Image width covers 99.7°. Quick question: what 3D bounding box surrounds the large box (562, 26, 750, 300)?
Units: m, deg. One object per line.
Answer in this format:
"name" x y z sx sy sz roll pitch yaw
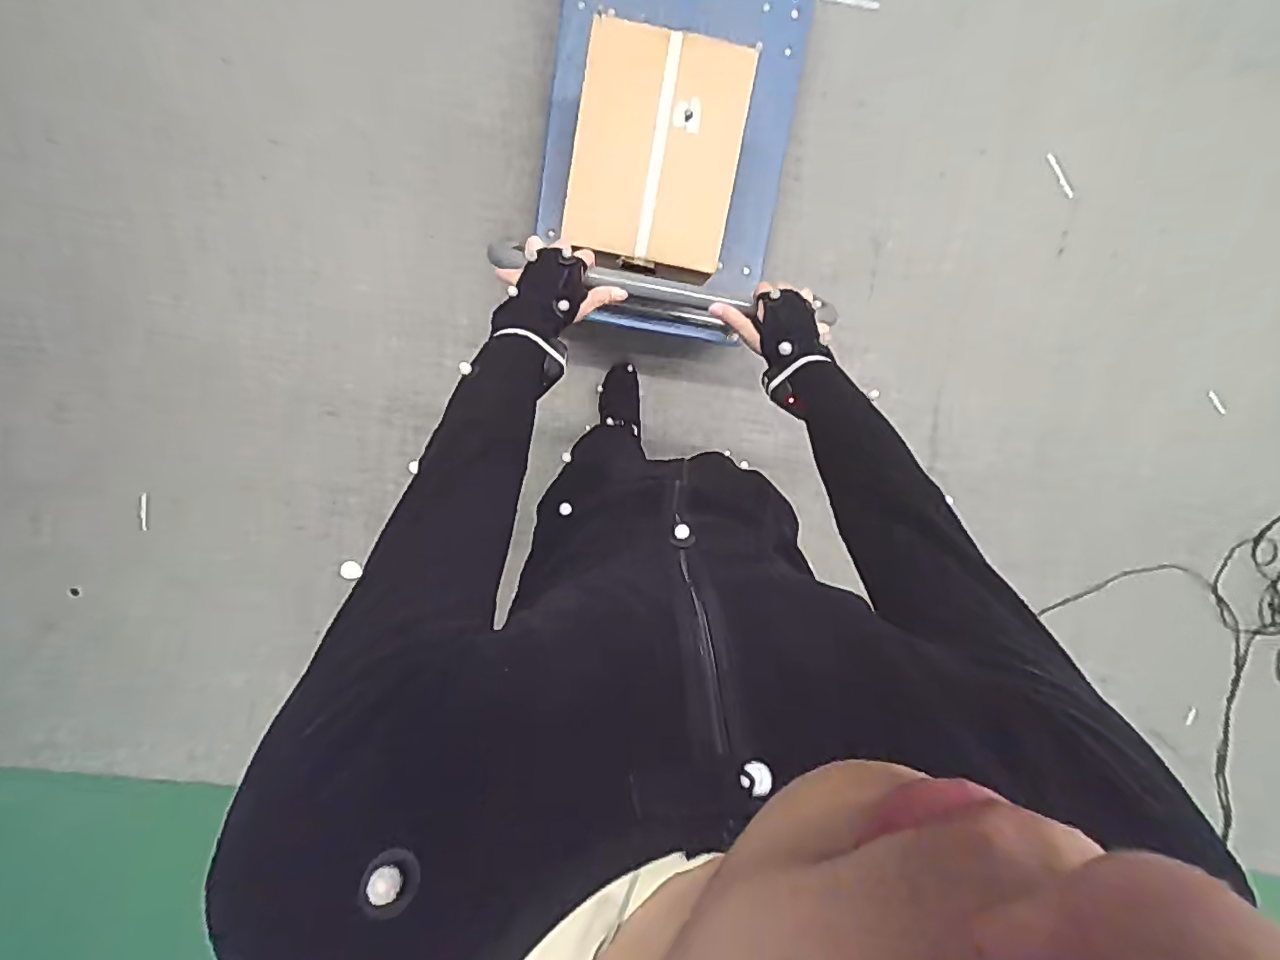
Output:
"large box" 0.022 -0.643 1.180 0.320 0.320 0.408 9 98 -5
